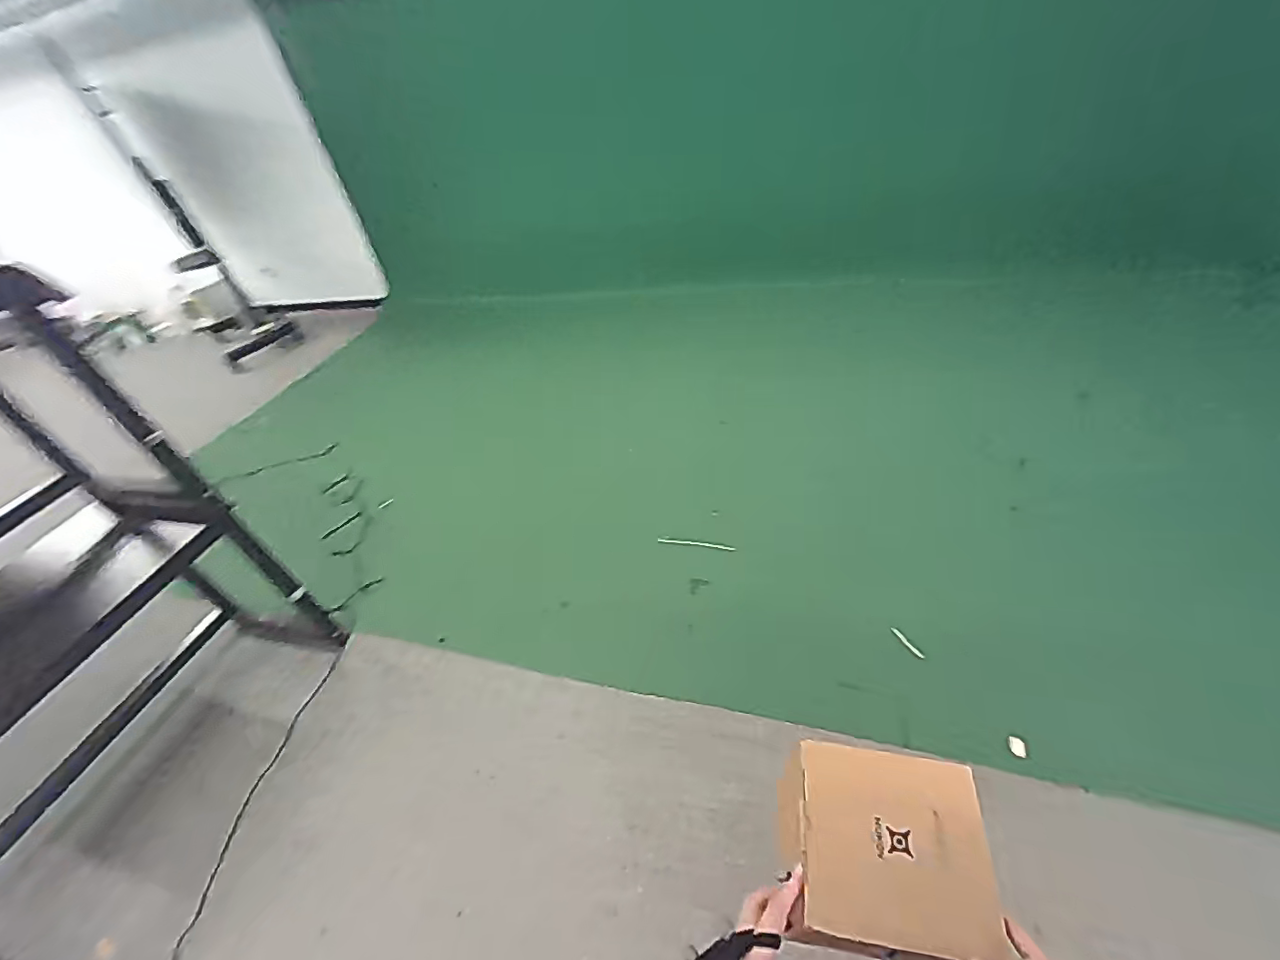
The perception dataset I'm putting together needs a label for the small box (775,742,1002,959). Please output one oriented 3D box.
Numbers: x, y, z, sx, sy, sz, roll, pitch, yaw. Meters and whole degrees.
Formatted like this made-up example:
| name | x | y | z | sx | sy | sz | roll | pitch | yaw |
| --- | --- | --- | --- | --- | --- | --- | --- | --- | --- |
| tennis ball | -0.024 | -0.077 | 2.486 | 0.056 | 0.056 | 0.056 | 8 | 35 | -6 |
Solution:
| name | x | y | z | sx | sy | sz | roll | pitch | yaw |
| --- | --- | --- | --- | --- | --- | --- | --- | --- | --- |
| small box | 0.244 | 0.407 | 0.586 | 0.179 | 0.176 | 0.168 | 6 | 49 | 7 |
